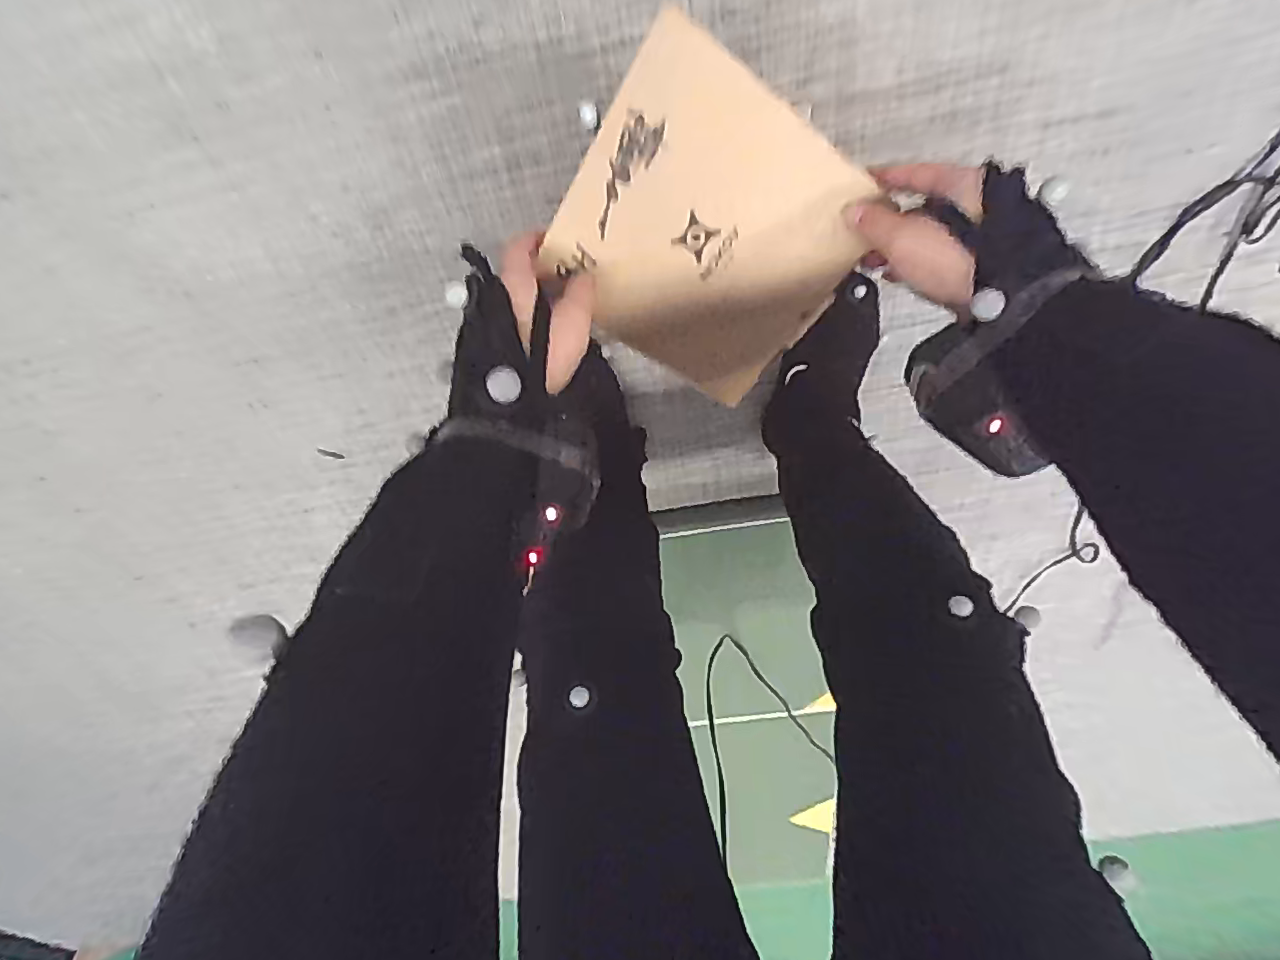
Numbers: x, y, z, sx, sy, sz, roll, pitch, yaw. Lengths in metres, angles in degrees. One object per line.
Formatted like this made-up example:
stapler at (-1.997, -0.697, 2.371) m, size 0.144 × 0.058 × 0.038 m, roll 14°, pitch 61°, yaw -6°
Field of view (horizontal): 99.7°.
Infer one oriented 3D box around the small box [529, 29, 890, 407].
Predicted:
small box at (0.042, -0.193, 0.409) m, size 0.179 × 0.176 × 0.168 m, roll 28°, pitch 122°, yaw -19°
